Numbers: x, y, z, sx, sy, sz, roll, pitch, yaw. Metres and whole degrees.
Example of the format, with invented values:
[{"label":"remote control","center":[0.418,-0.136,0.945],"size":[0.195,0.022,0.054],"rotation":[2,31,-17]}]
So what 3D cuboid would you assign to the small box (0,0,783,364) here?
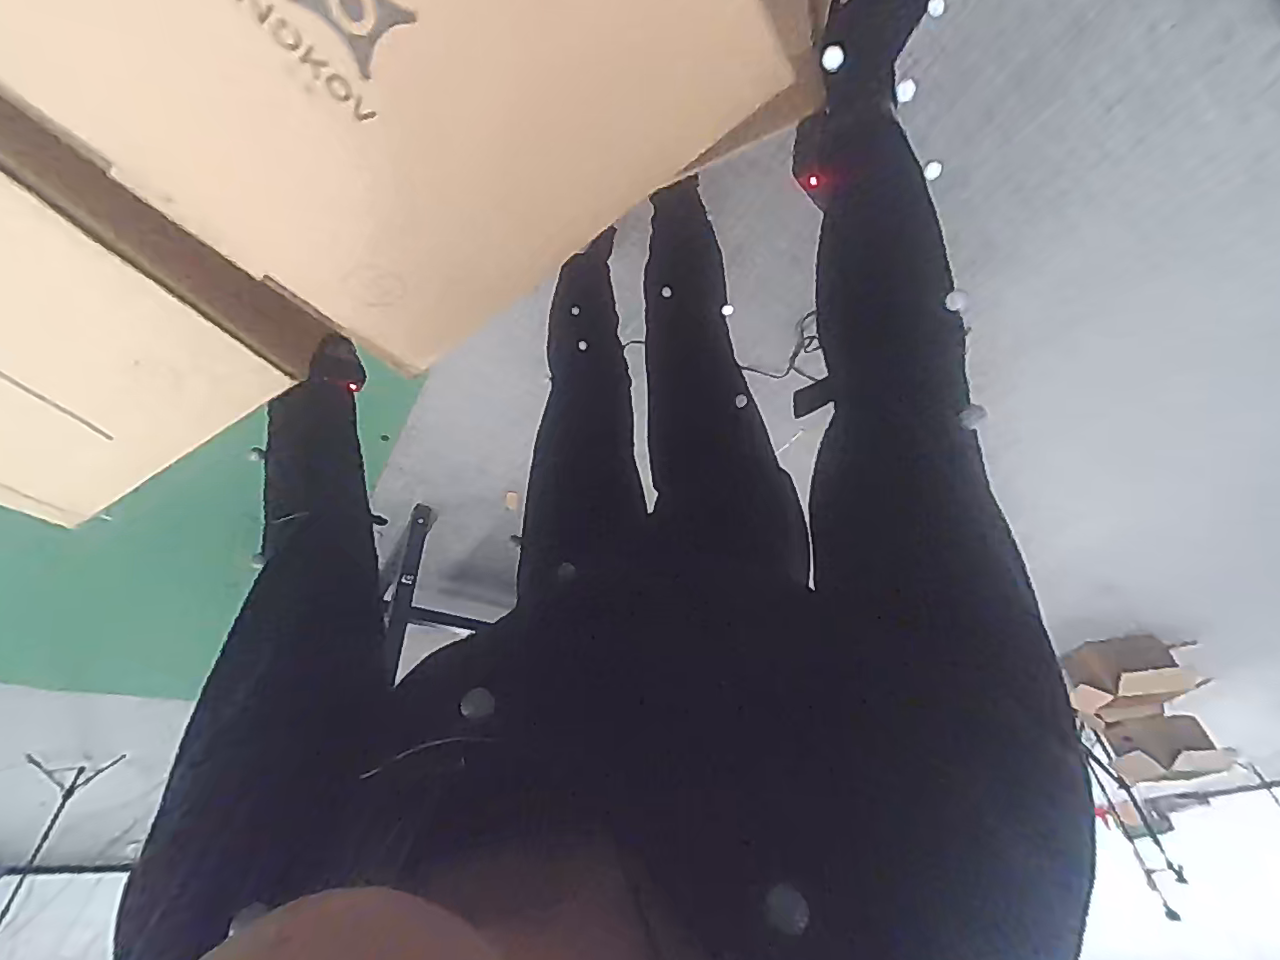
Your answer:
[{"label":"small box","center":[-0.076,-0.183,0.190],"size":[0.179,0.176,0.168],"rotation":[-27,133,24]}]
